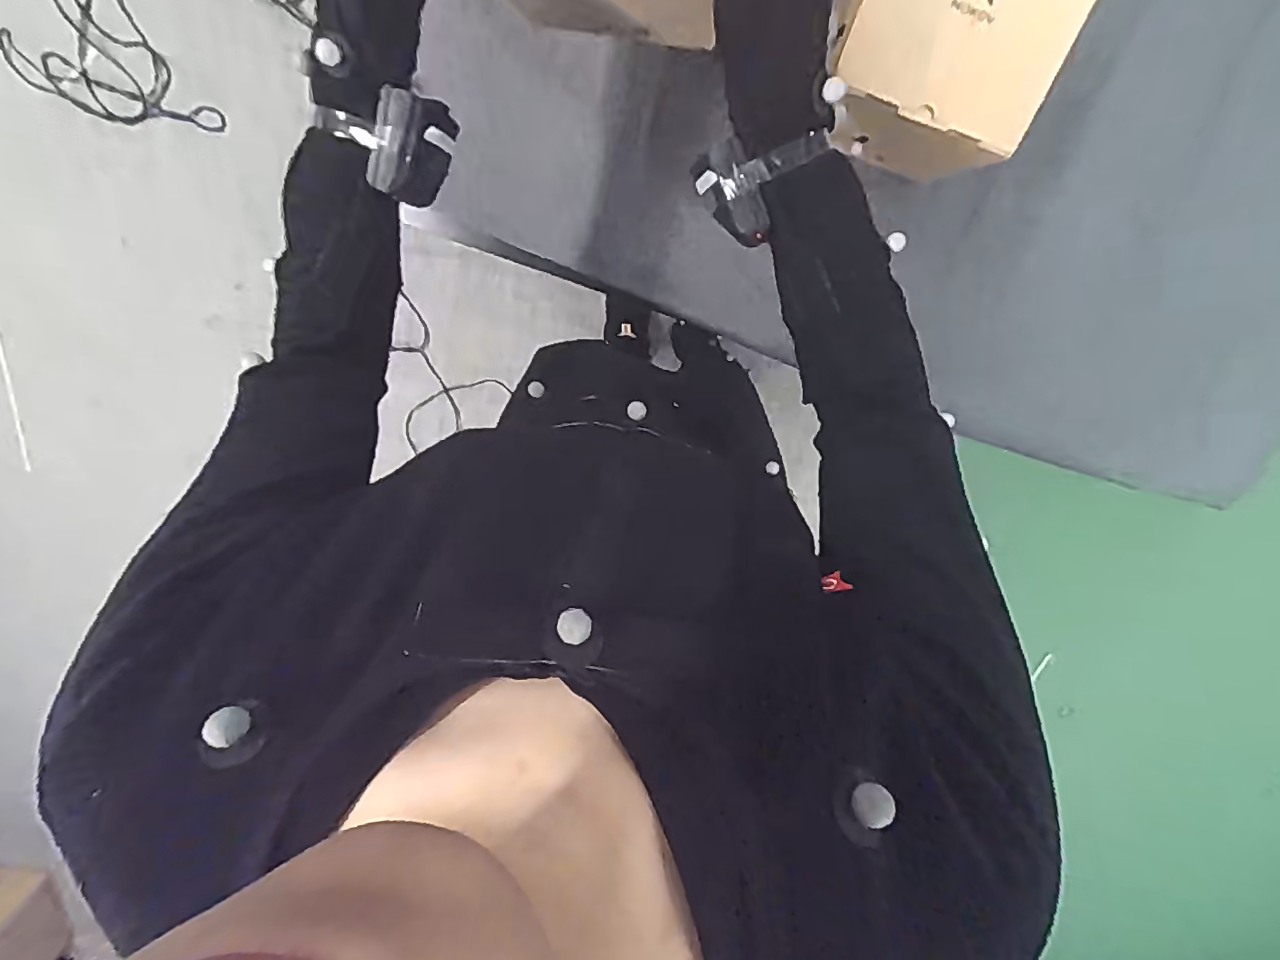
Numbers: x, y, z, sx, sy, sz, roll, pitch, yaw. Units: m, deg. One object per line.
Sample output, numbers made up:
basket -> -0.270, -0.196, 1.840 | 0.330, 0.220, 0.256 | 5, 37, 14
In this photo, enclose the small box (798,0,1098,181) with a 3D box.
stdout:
small box -> 0.259, -0.392, 0.477 | 0.168, 0.176, 0.179 | 18, 113, -4
